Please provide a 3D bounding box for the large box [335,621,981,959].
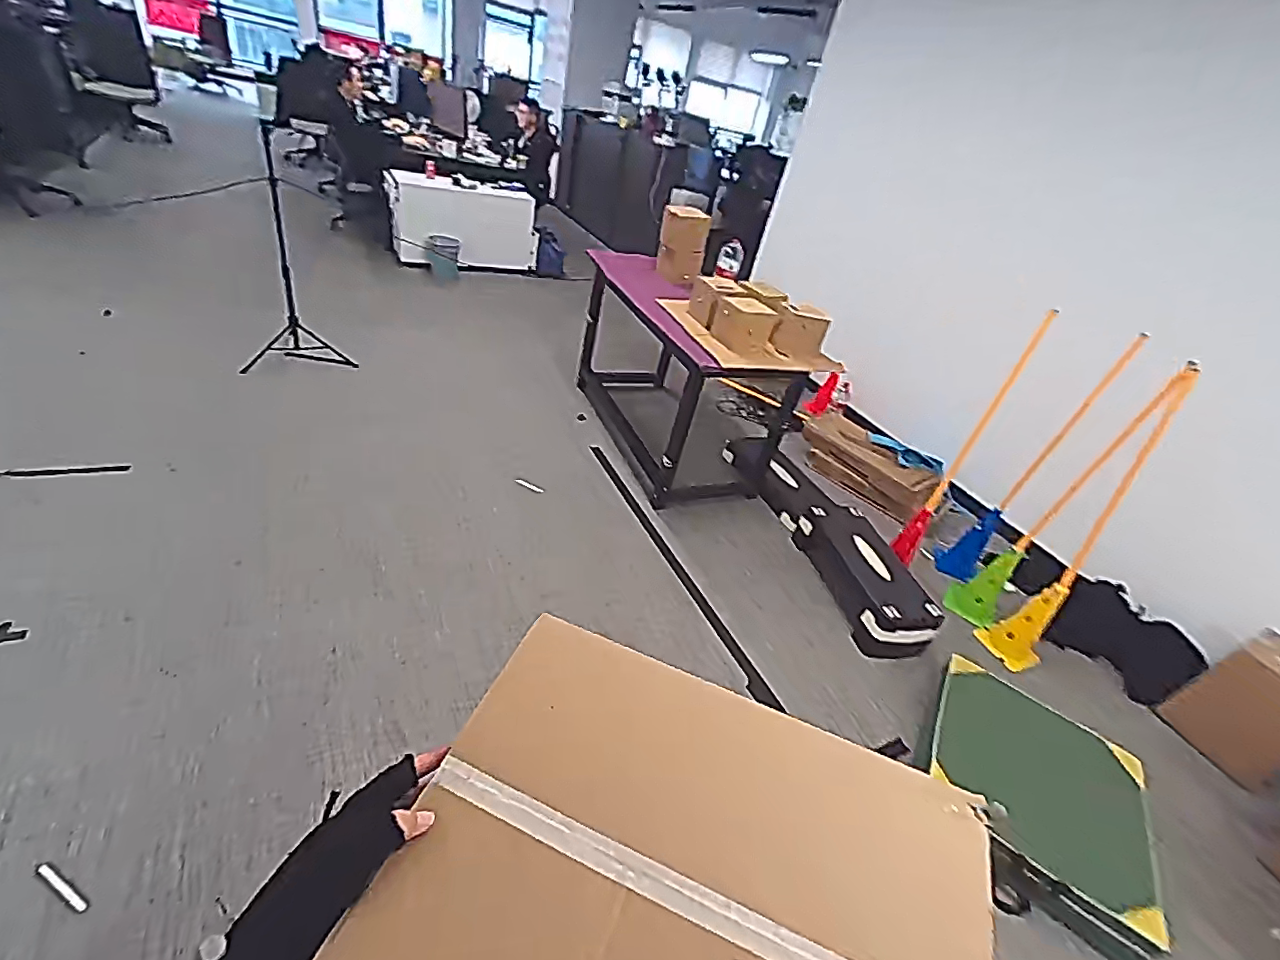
[{"bbox_3d":[0.023,0.399,0.491,0.408,0.320,0.320,19,46,14],"label":"large box"}]
